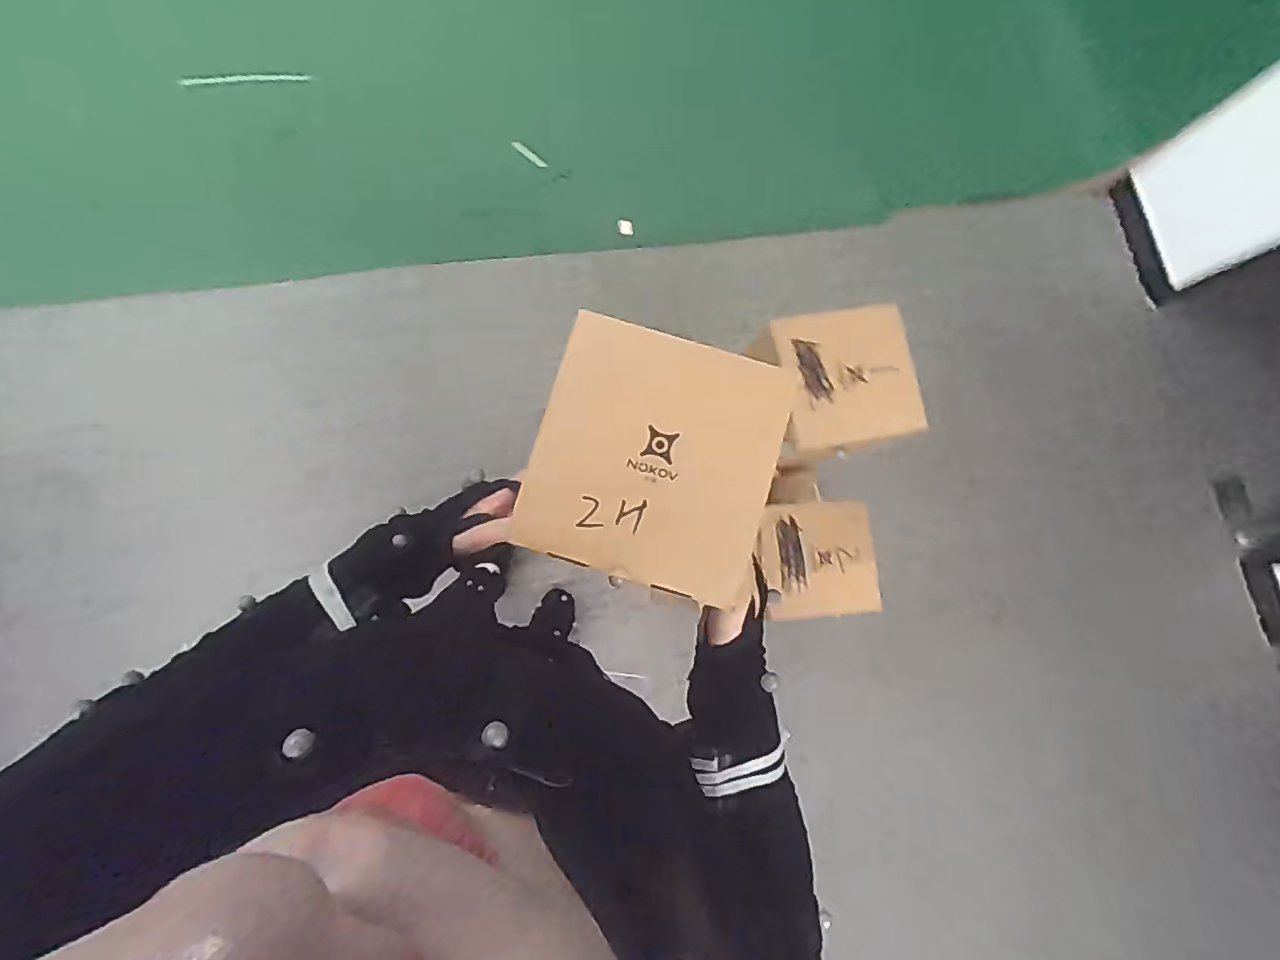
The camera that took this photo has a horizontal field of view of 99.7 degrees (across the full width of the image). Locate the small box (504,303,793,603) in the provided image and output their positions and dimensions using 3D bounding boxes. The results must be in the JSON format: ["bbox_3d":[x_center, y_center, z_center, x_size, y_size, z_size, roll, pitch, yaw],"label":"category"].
[{"bbox_3d":[0.007,-0.013,0.452,0.168,0.176,0.179,16,85,2],"label":"small box"}]

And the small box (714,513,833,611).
[{"bbox_3d":[0.238,0.154,1.026,0.179,0.176,0.168,-3,80,-8],"label":"small box"}]

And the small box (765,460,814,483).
[{"bbox_3d":[0.213,-0.076,1.062,0.179,0.176,0.168,-8,84,-9],"label":"small box"}]

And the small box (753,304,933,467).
[{"bbox_3d":[0.252,-0.119,0.738,0.179,0.176,0.168,-10,84,-10],"label":"small box"}]
